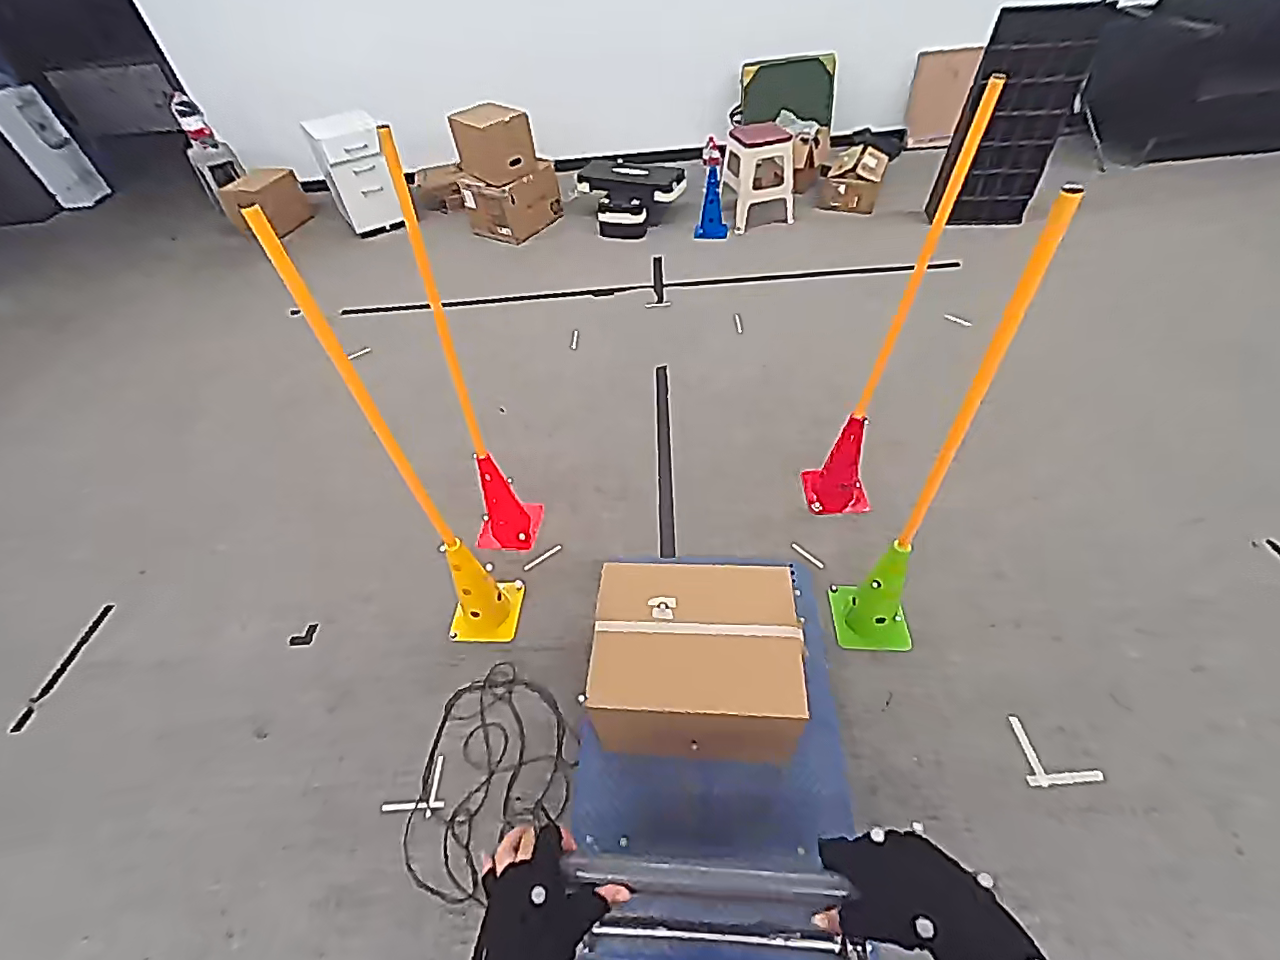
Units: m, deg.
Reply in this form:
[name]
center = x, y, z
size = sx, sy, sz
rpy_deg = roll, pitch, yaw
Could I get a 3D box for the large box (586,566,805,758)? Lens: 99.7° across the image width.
[large box]
center = 0.120, 0.401, 1.185
size = 0.408, 0.320, 0.320
rpy_deg = 0, 48, 7

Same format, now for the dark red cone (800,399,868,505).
[dark red cone]
center = 0.664, -0.098, 1.754
size = 0.201, 0.394, 0.202
rpy_deg = -2, 48, 1

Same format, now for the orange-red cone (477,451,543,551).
[orange-red cone]
center = -0.461, 0.043, 1.763
size = 0.198, 0.360, 0.199
rpy_deg = 3, 47, 7

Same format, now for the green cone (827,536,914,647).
[green cone]
center = 0.649, 0.274, 1.442
size = 0.202, 0.368, 0.200
rpy_deg = 1, 48, 4
